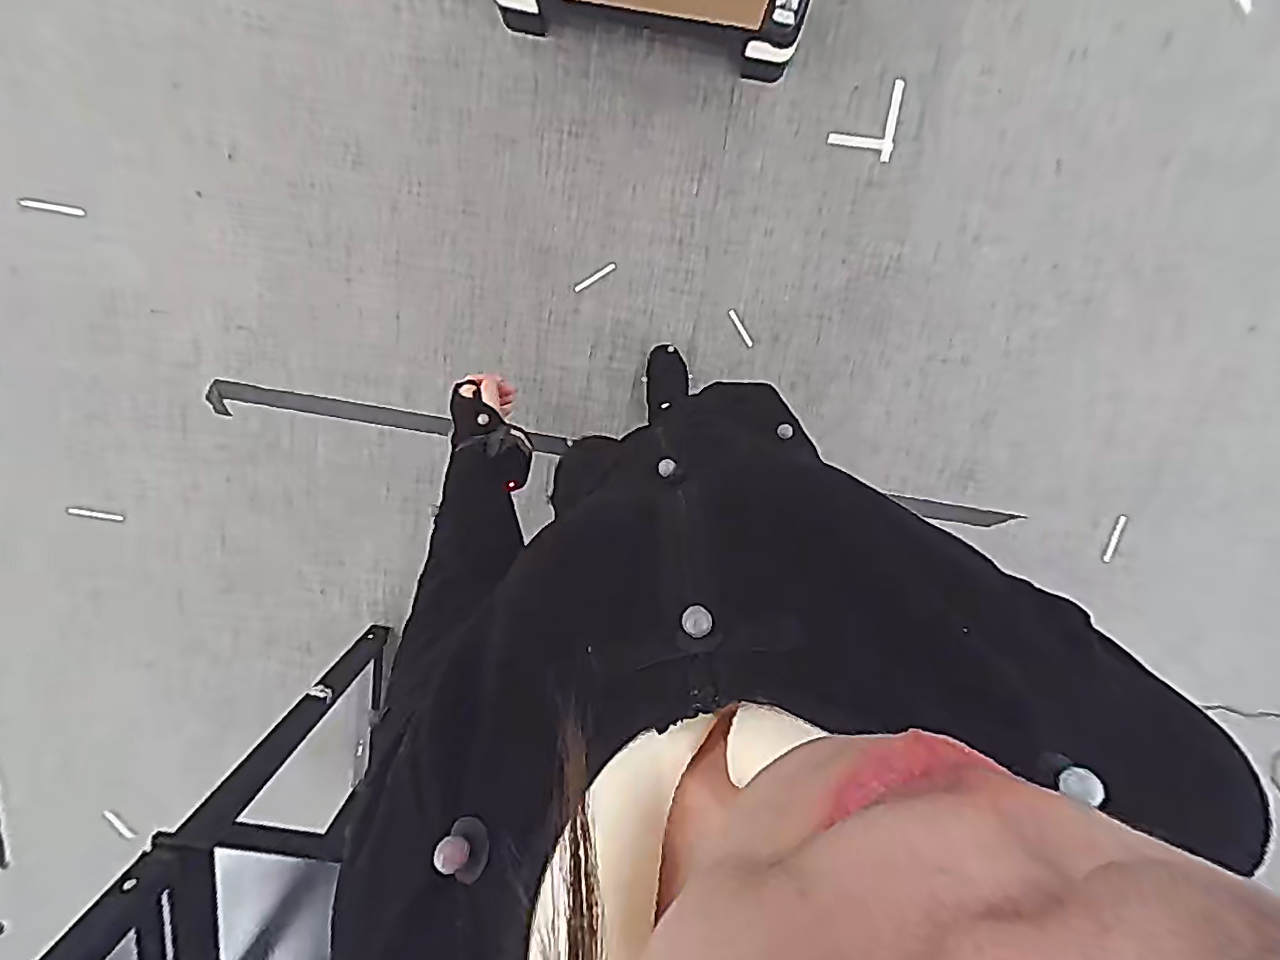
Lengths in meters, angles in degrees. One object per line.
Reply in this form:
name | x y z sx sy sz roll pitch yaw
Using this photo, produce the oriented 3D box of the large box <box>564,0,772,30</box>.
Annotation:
large box | 0.060 -1.030 0.903 0.408 0.320 0.320 8 103 0
